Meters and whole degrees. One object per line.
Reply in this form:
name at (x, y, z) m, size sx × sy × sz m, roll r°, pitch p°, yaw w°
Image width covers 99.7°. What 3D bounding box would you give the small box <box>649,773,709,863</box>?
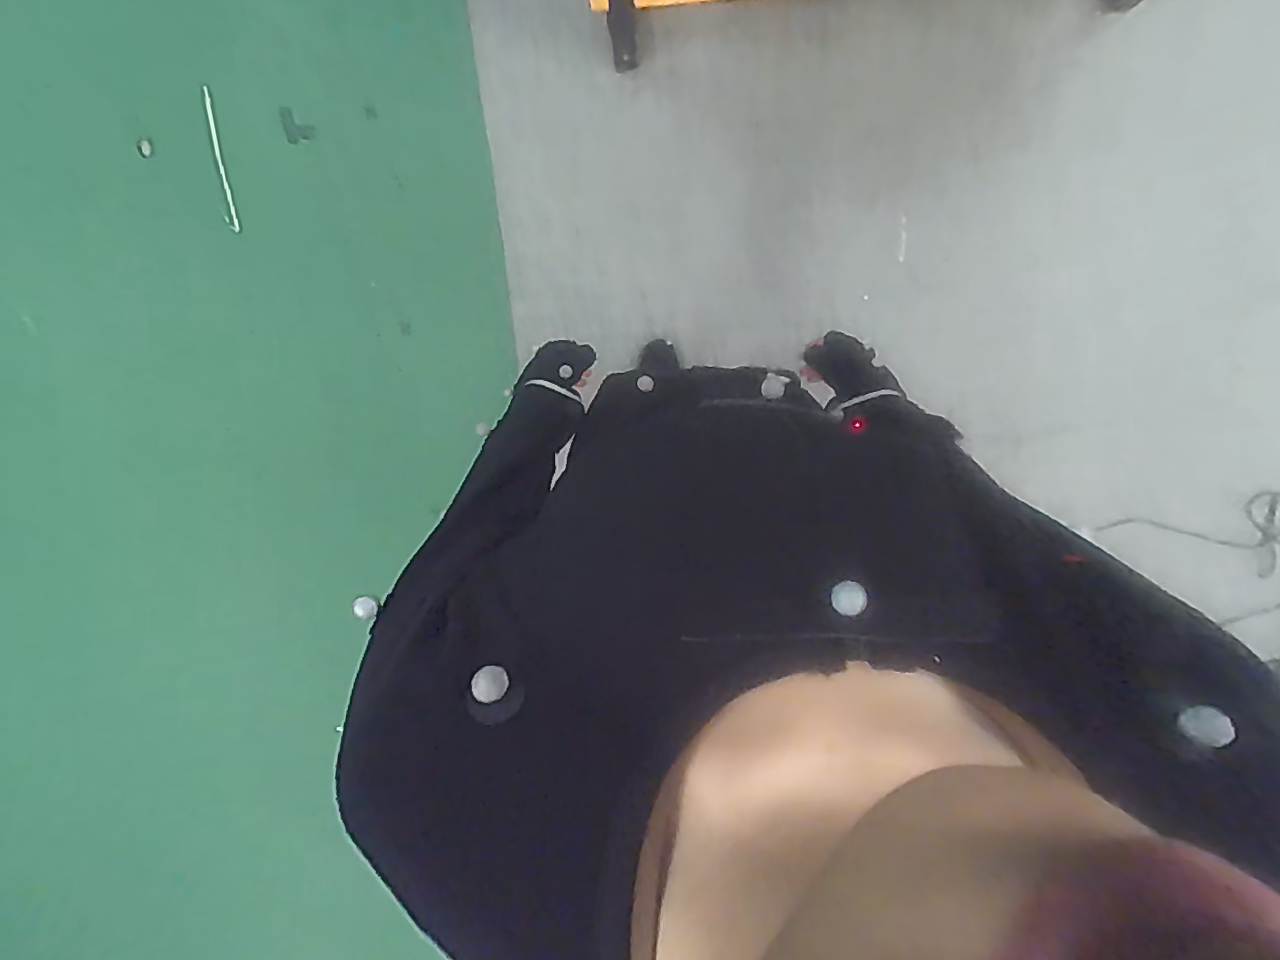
small box at (0.117, 1.022, 1.651) m, size 0.168 × 0.176 × 0.179 m, roll -6°, pitch 104°, yaw 3°
